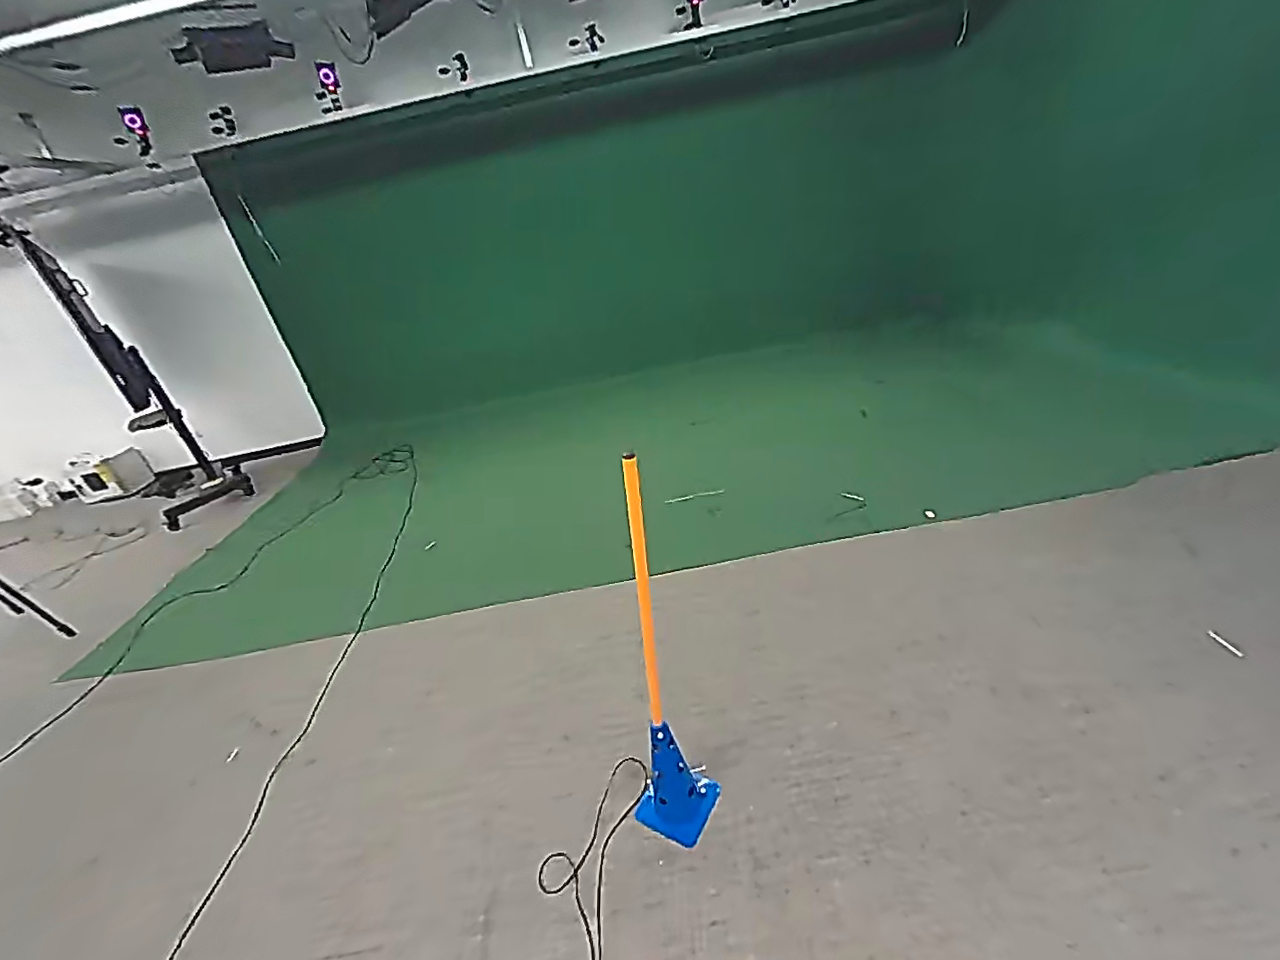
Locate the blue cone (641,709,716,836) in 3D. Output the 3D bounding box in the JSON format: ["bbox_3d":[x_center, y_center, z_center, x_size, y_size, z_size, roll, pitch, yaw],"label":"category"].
[{"bbox_3d":[0.083,0.778,1.505,0.192,0.380,0.193,6,31,31],"label":"blue cone"}]
